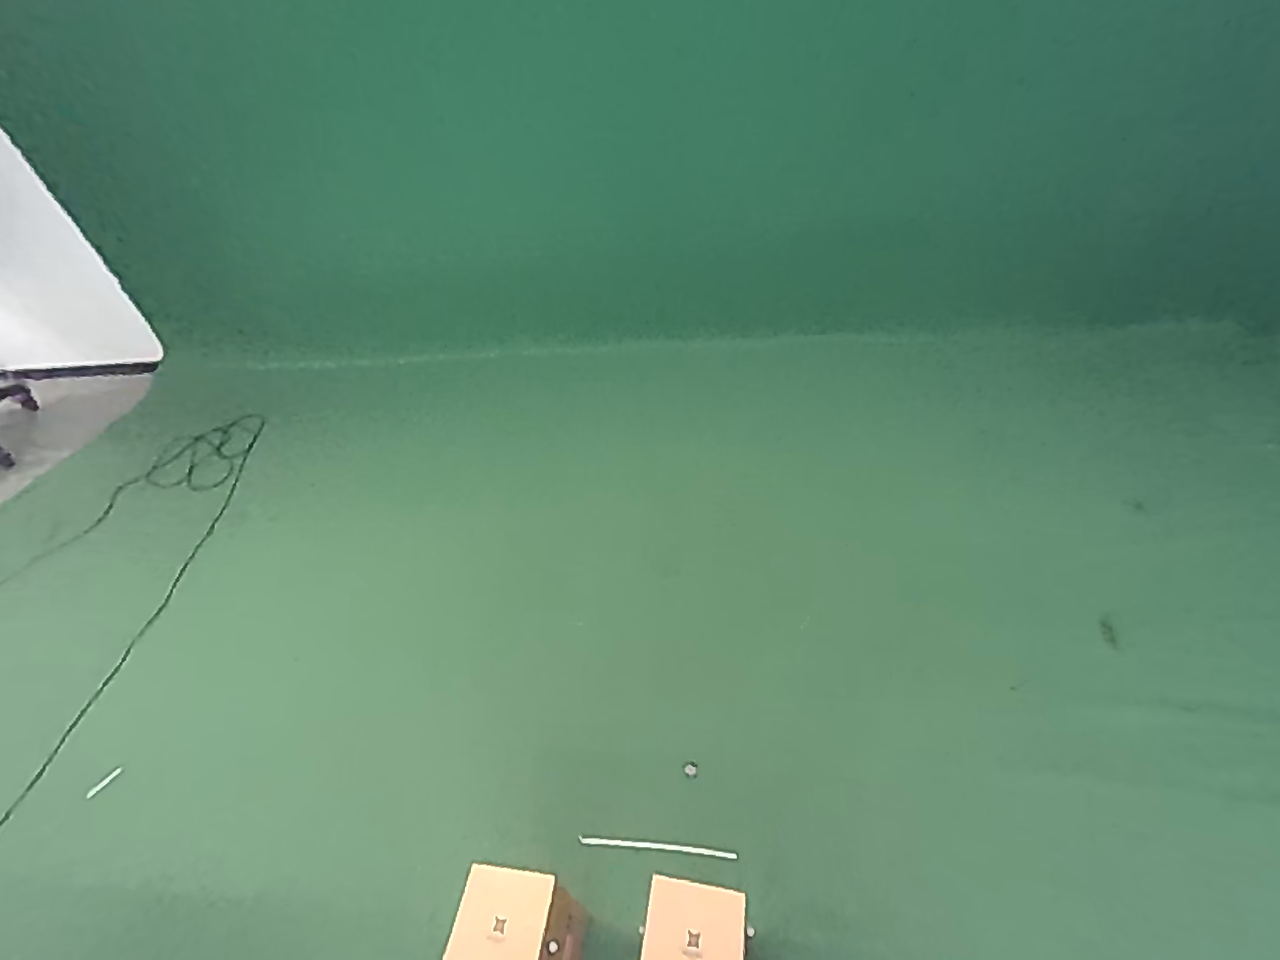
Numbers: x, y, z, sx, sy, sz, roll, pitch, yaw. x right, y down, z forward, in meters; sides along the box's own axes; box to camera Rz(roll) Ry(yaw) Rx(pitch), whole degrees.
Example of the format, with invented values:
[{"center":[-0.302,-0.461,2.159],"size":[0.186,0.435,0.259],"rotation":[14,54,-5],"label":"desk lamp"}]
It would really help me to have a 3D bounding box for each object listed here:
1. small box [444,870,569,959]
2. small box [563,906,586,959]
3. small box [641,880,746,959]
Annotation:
[{"center":[-0.236,0.846,0.981],"size":[0.168,0.176,0.179],"rotation":[0,42,11],"label":"small box"},{"center":[-0.217,0.966,1.091],"size":[0.179,0.176,0.168],"rotation":[-1,41,11],"label":"small box"},{"center":[0.094,0.833,0.935],"size":[0.168,0.176,0.179],"rotation":[3,43,13],"label":"small box"}]
